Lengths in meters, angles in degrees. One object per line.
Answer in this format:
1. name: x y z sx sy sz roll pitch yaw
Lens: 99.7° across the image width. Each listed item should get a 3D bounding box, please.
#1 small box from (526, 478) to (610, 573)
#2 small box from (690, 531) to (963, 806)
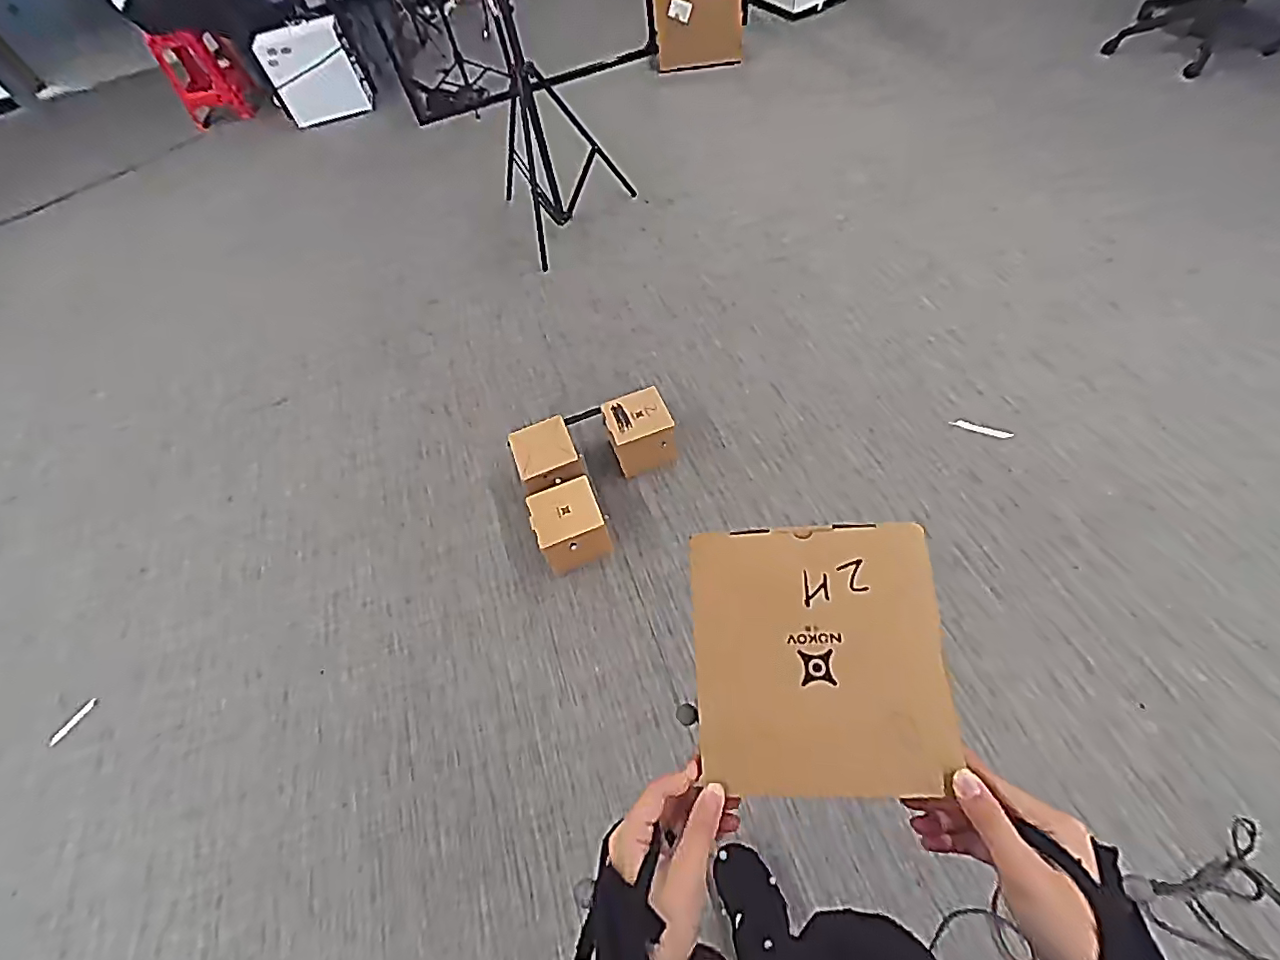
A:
1. small box: -0.187 0.127 1.468 0.179 0.176 0.168 -21 58 -4
2. small box: 0.131 0.145 0.445 0.168 0.176 0.179 -4 73 7
